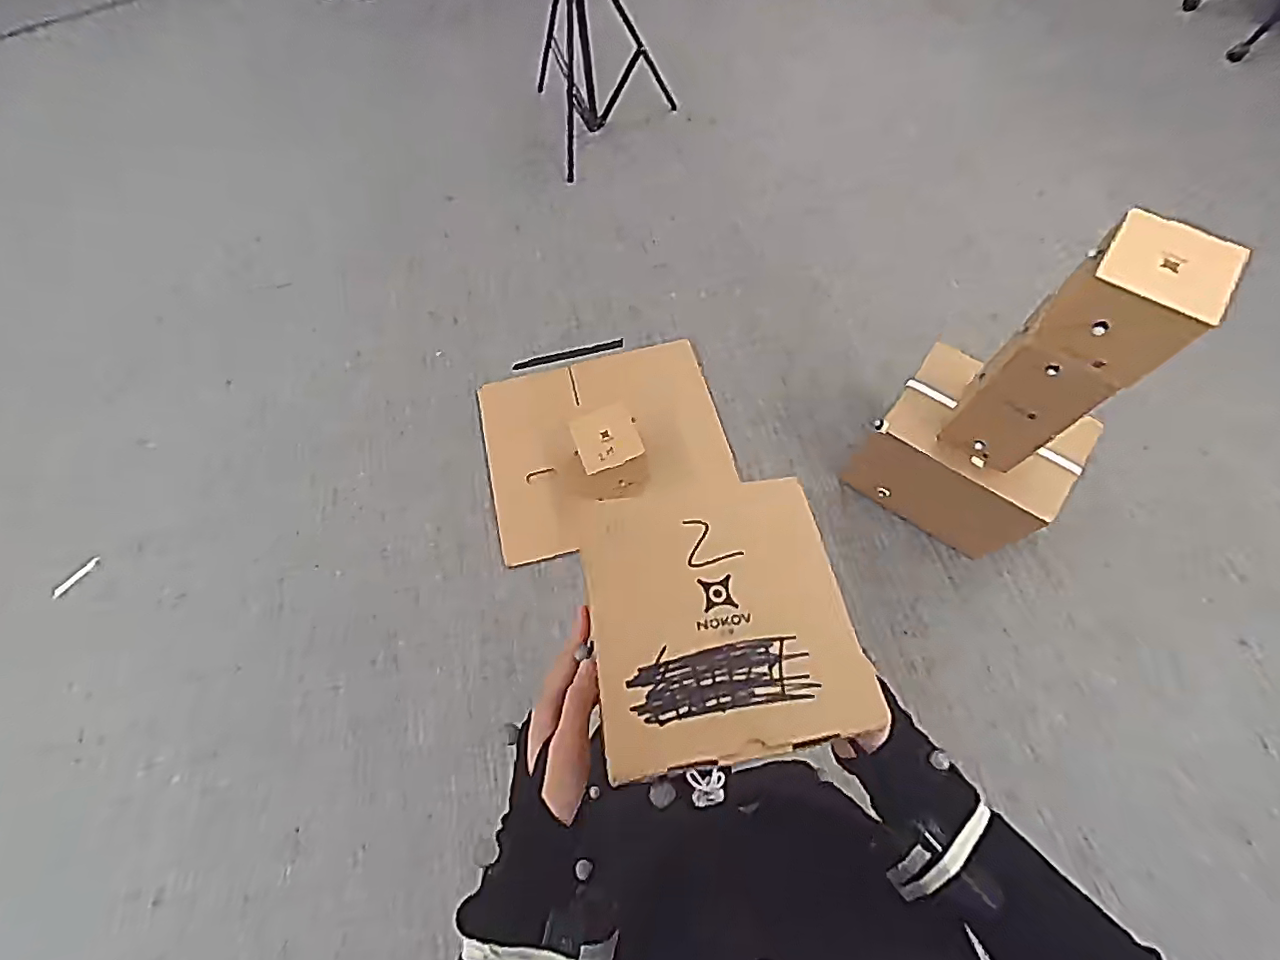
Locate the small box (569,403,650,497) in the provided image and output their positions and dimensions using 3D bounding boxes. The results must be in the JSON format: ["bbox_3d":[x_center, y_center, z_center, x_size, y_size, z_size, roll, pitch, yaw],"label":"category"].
[{"bbox_3d":[-0.081,-0.079,1.500,0.168,0.176,0.179,-22,67,-4],"label":"small box"}]

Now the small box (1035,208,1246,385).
[{"bbox_3d":[0.781,-0.285,0.865,0.168,0.176,0.179,33,71,16],"label":"small box"}]

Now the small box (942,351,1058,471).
[{"bbox_3d":[0.792,-0.154,1.164,0.168,0.176,0.179,34,72,16],"label":"small box"}]

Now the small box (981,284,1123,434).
[{"bbox_3d":[0.786,-0.223,1.016,0.168,0.176,0.179,34,71,16],"label":"small box"}]
